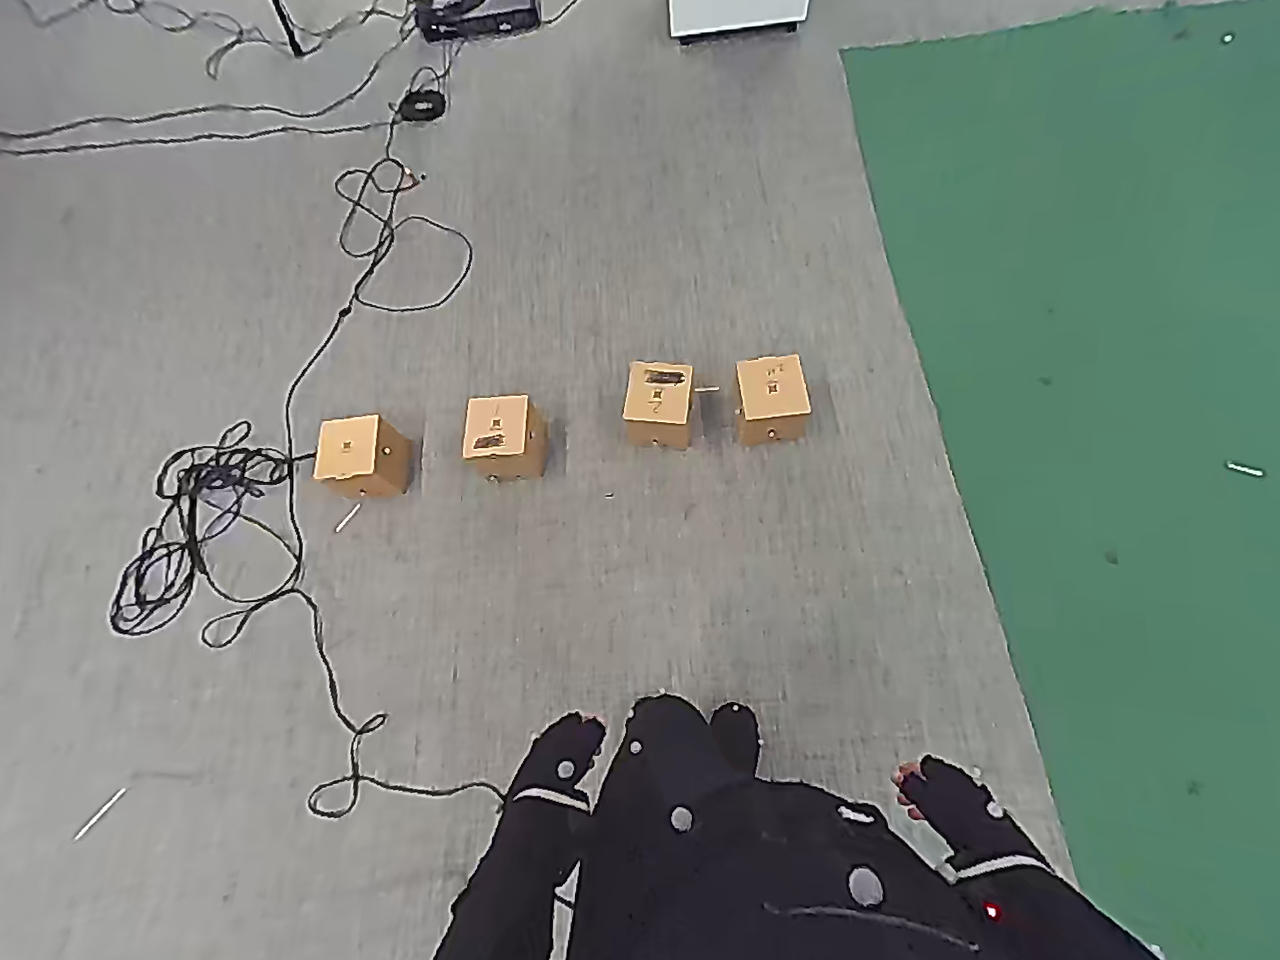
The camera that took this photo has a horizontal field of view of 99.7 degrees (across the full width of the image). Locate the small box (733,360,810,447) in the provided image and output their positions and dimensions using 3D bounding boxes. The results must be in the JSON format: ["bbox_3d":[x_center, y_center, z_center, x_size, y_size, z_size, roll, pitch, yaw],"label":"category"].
[{"bbox_3d":[0.348,-0.199,1.461,0.168,0.176,0.179,-6,69,3],"label":"small box"}]

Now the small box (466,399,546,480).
[{"bbox_3d":[-0.364,-0.104,1.496,0.168,0.176,0.179,-3,69,5],"label":"small box"}]

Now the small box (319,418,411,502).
[{"bbox_3d":[-0.763,-0.051,1.520,0.168,0.176,0.179,-7,69,4],"label":"small box"}]
